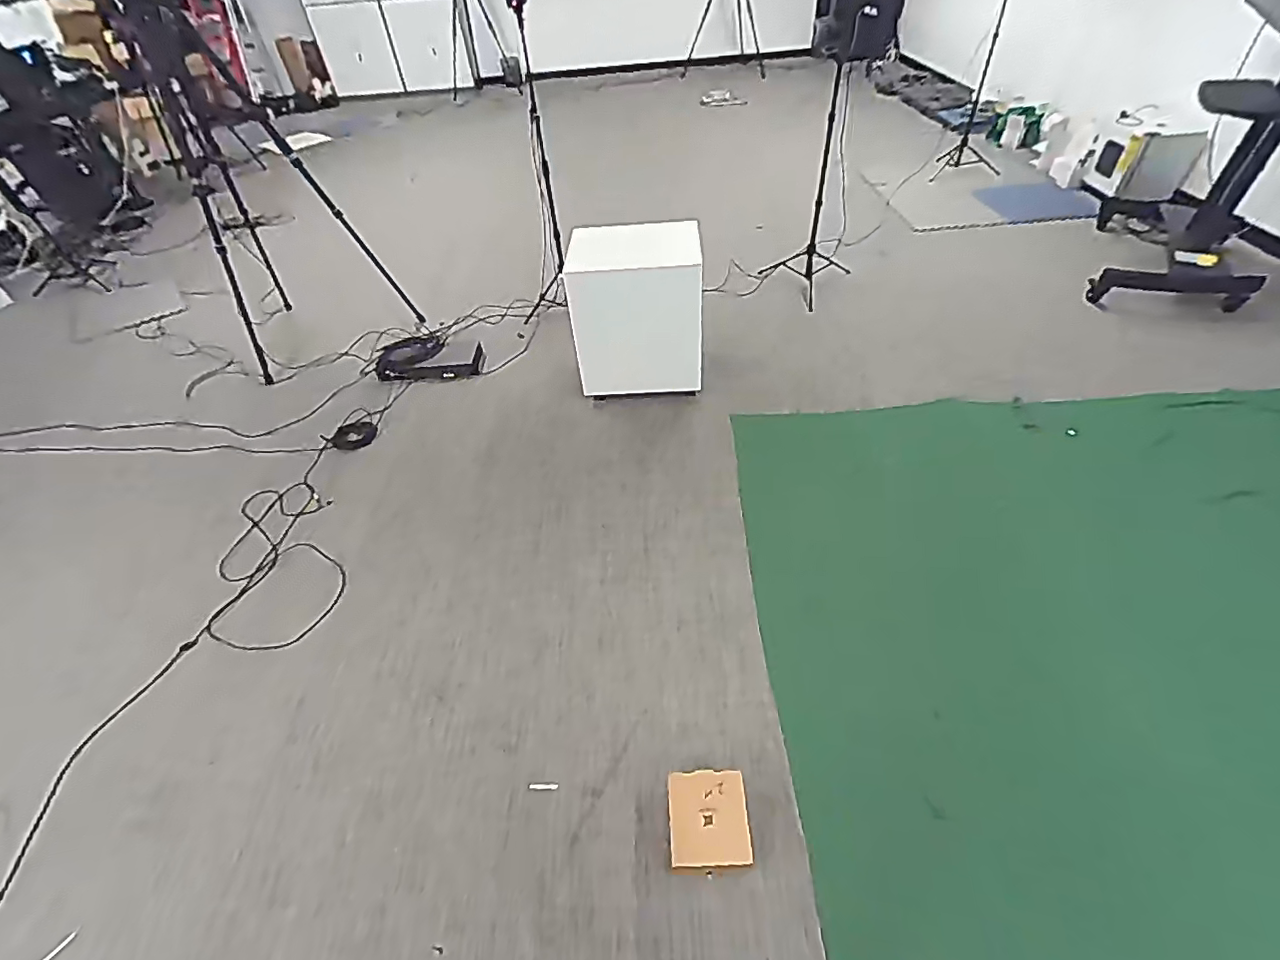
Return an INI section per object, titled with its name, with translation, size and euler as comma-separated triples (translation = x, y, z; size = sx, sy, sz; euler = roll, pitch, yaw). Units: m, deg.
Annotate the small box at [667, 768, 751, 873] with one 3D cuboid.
[small box]
translation = 0.147, 0.755, 1.194
size = 0.168, 0.176, 0.179
euler = -3, 47, 1
